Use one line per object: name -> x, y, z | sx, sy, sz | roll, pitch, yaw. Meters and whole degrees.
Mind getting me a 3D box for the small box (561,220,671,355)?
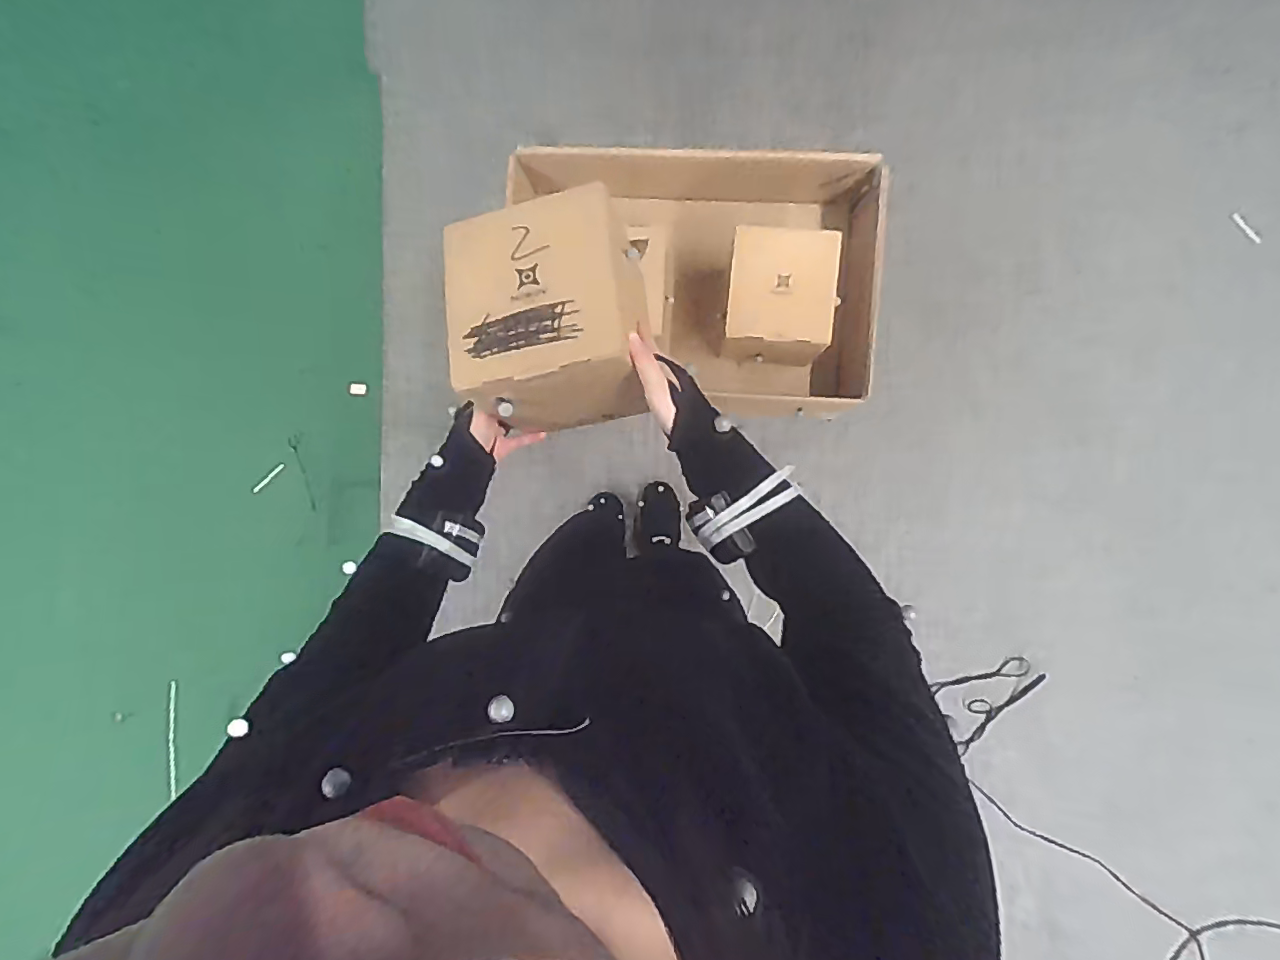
small box -> -0.034, -0.324, 0.936 | 0.168, 0.176, 0.179 | 3, 92, 5
